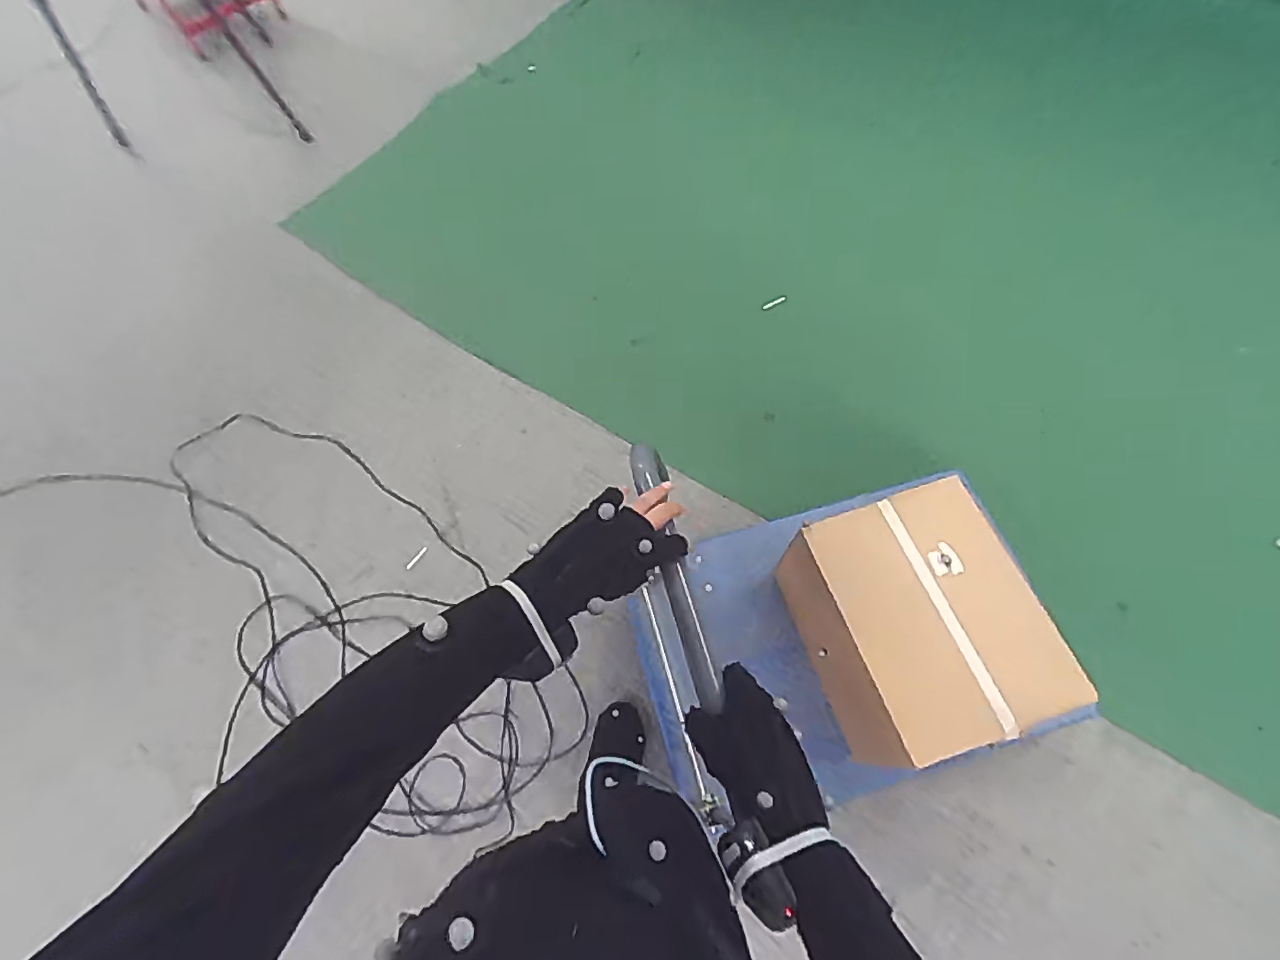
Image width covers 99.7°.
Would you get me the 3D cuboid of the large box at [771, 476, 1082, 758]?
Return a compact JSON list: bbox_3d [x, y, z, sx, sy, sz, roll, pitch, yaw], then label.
[{"bbox_3d":[0.494,0.268,1.043,0.320,0.320,0.408,-18,65,-6],"label":"large box"}]
